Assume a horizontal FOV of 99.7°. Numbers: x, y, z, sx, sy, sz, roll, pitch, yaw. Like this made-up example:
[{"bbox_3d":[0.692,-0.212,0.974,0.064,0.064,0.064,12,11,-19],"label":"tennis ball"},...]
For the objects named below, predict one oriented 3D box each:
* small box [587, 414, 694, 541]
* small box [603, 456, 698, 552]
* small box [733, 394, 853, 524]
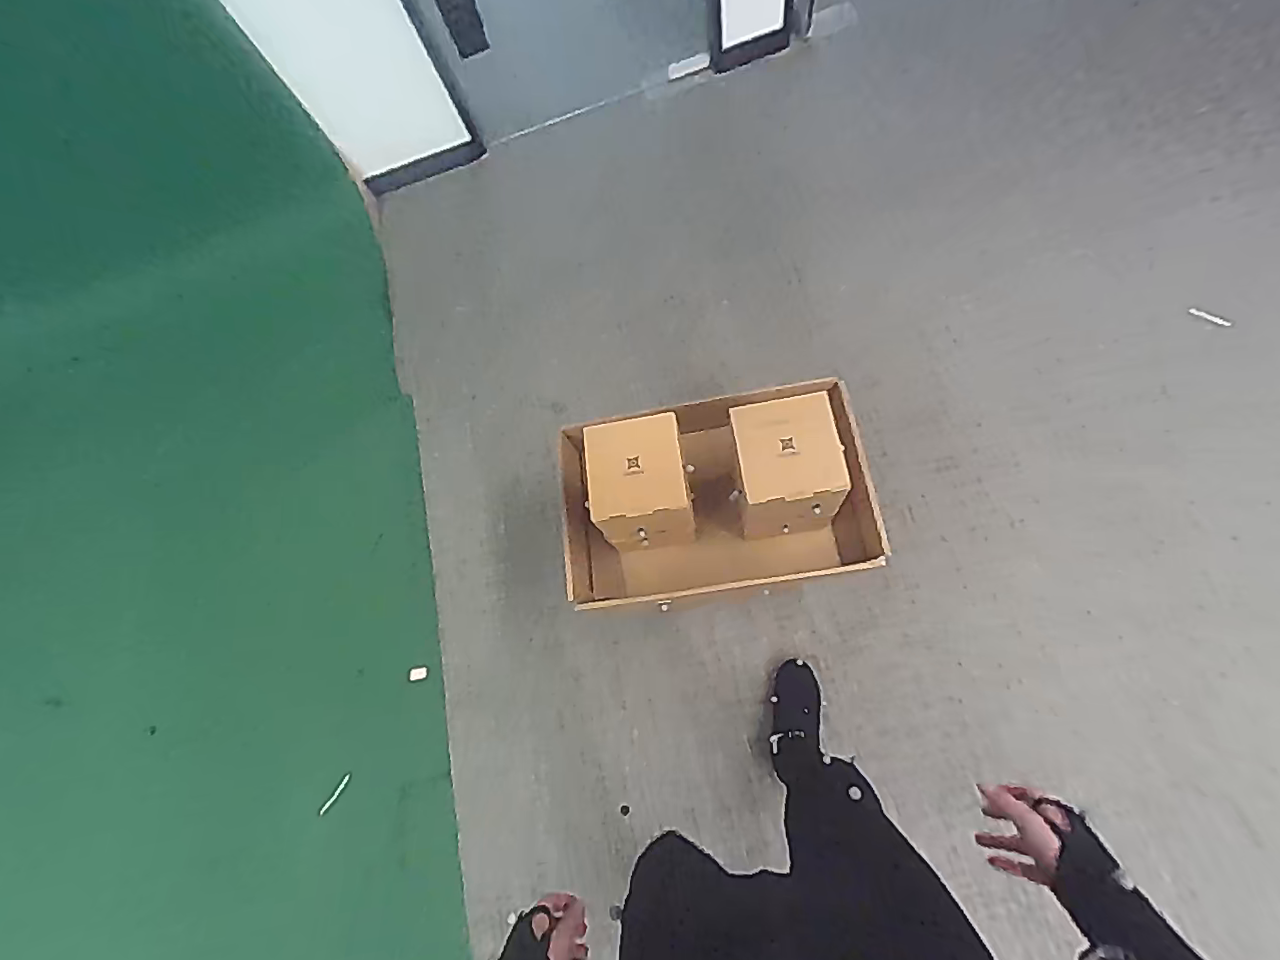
[{"bbox_3d":[0.005,0.002,0.985,0.168,0.176,0.179,-8,71,6],"label":"small box"},{"bbox_3d":[0.023,0.051,1.140,0.179,0.176,0.168,-8,71,7],"label":"small box"},{"bbox_3d":[0.256,-0.026,0.945,0.168,0.176,0.179,-7,70,6],"label":"small box"}]
